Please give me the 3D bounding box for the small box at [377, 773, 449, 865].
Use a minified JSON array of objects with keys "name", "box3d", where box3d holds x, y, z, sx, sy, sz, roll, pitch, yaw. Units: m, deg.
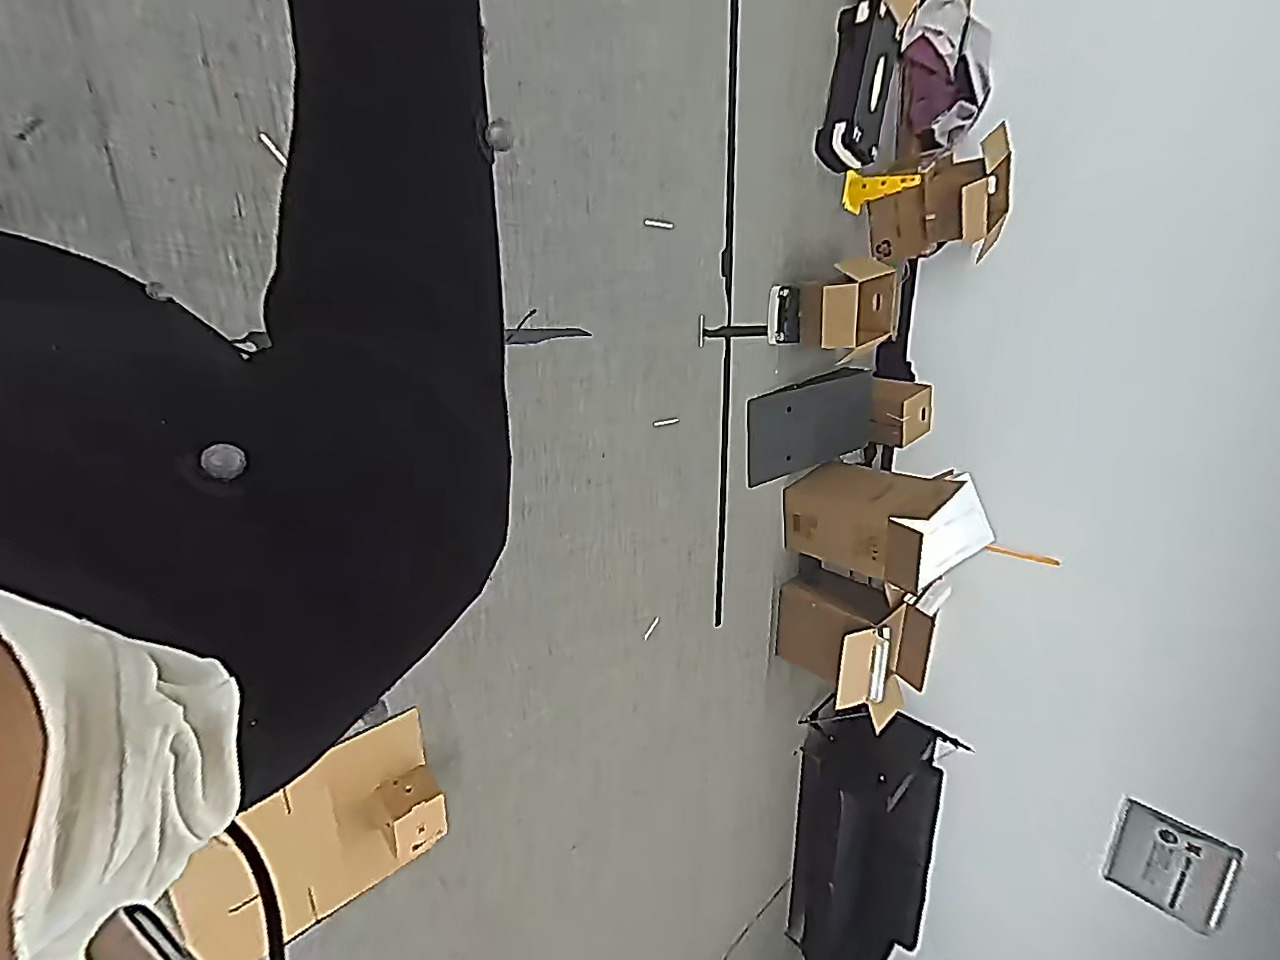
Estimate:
[{"name":"small box","box3d":[-0.760,1.116,1.806,0.168,0.176,0.179,-13,110,-42]}]
